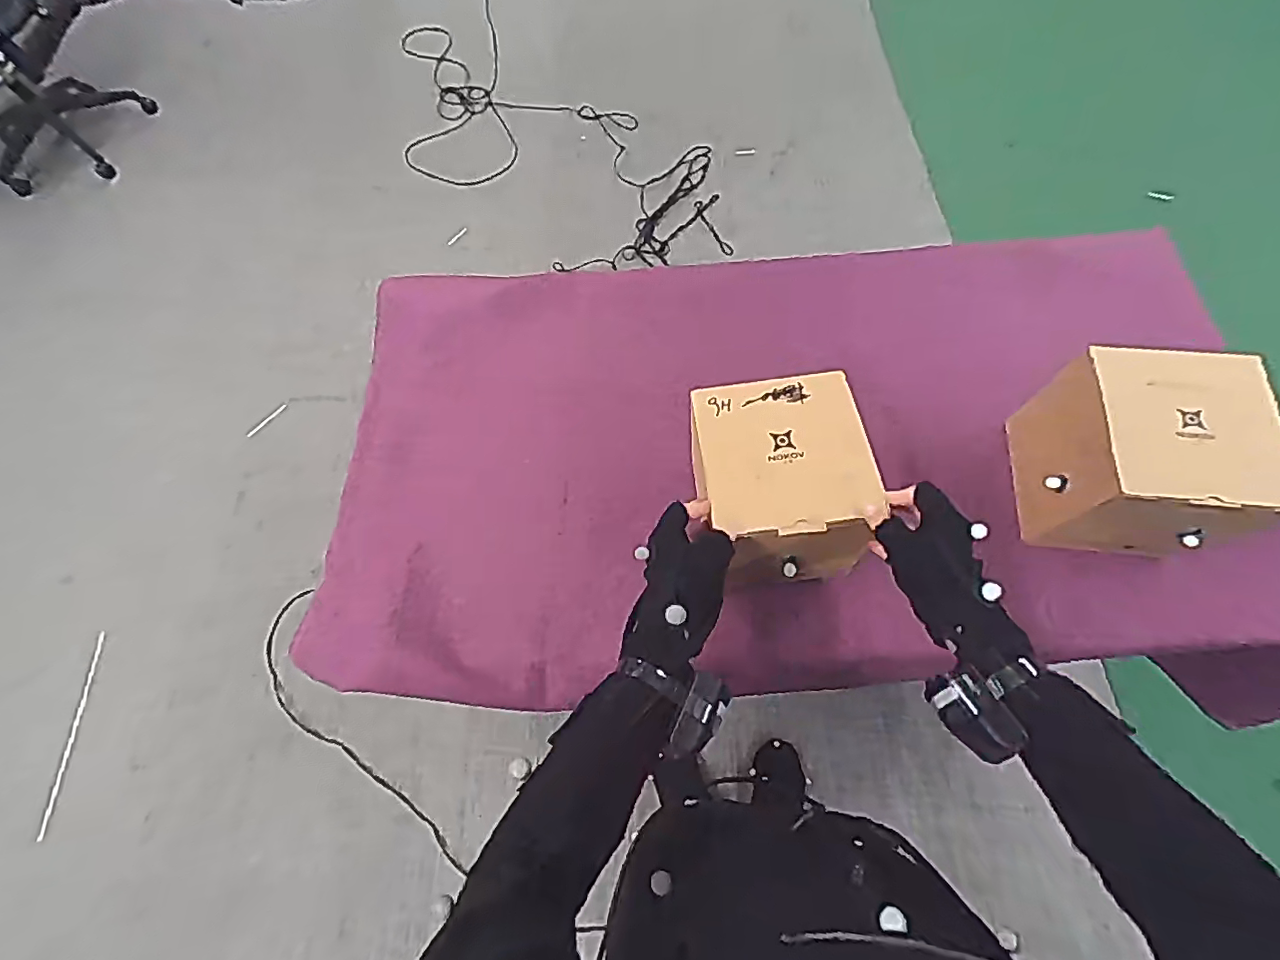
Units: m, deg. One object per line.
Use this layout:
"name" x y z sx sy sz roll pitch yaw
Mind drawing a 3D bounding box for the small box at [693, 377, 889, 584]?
"small box" 0.153 0.012 0.610 0.168 0.176 0.179 -7 63 3

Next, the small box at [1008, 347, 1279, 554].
"small box" 0.552 -0.025 0.609 0.168 0.176 0.179 6 67 7
